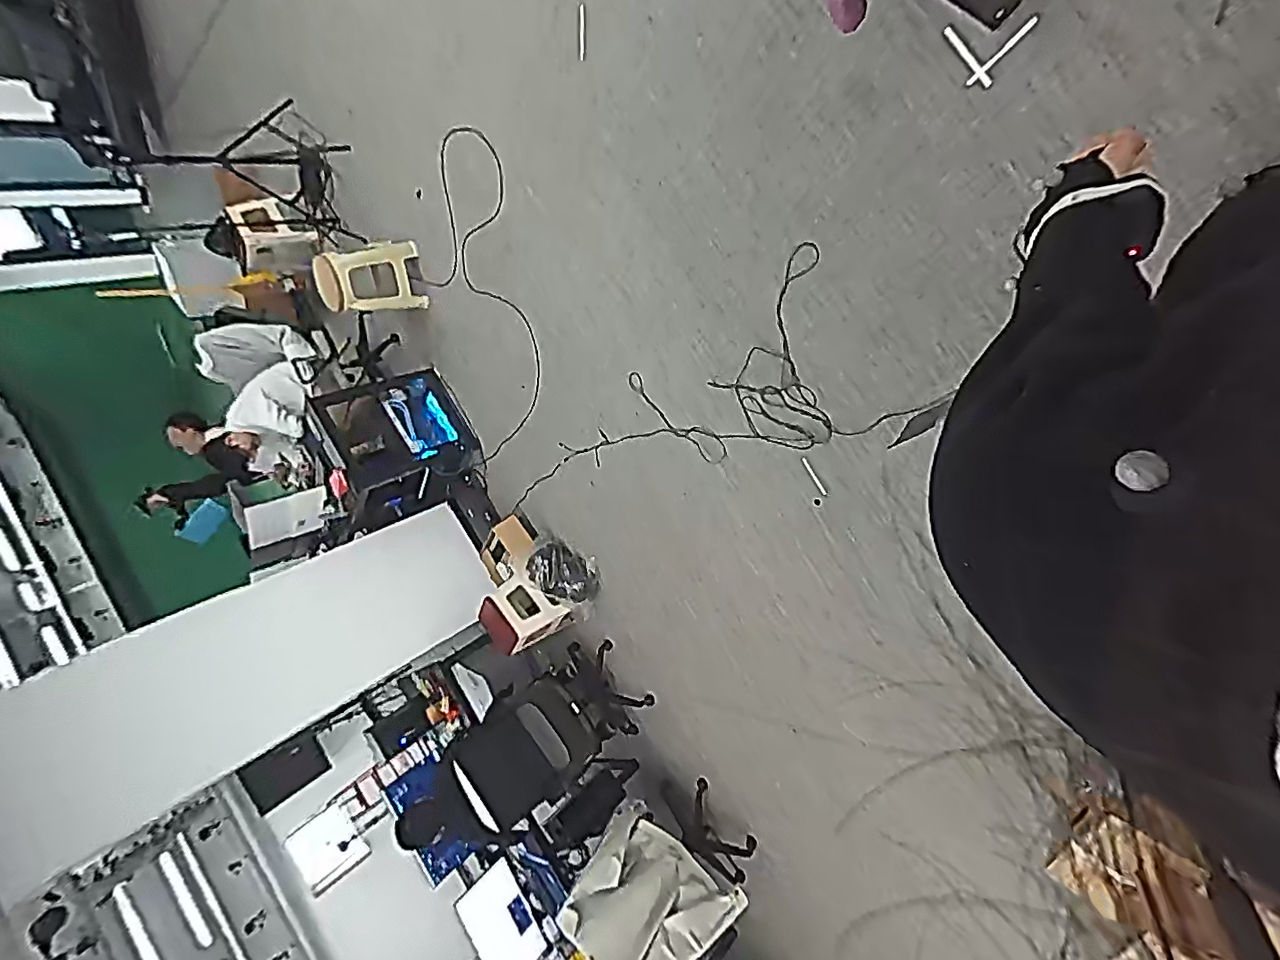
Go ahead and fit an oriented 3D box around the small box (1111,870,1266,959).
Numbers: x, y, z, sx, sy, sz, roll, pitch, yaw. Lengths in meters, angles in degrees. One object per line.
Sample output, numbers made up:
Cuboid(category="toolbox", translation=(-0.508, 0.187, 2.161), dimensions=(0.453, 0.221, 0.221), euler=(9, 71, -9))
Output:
Cuboid(category="small box", translation=(1.113, 0.957, 1.100), dimensions=(0.179, 0.176, 0.168), euler=(28, 128, 36))
